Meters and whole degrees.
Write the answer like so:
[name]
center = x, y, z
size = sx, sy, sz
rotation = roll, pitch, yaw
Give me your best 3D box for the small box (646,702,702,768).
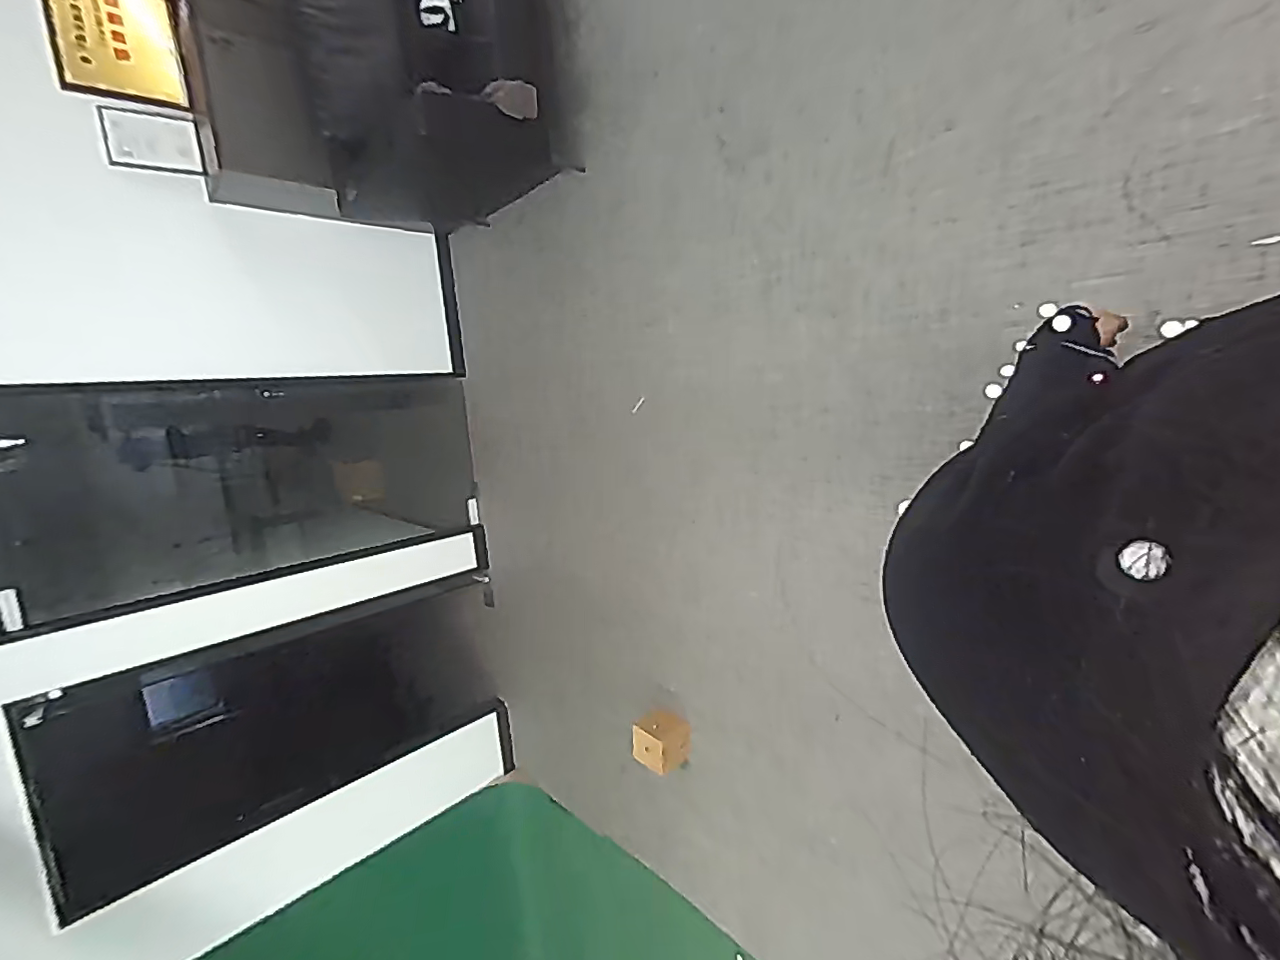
[small box]
center = 0.147, 1.092, 2.336
size = 0.179, 0.176, 0.168
rotation = 9, 107, 45
